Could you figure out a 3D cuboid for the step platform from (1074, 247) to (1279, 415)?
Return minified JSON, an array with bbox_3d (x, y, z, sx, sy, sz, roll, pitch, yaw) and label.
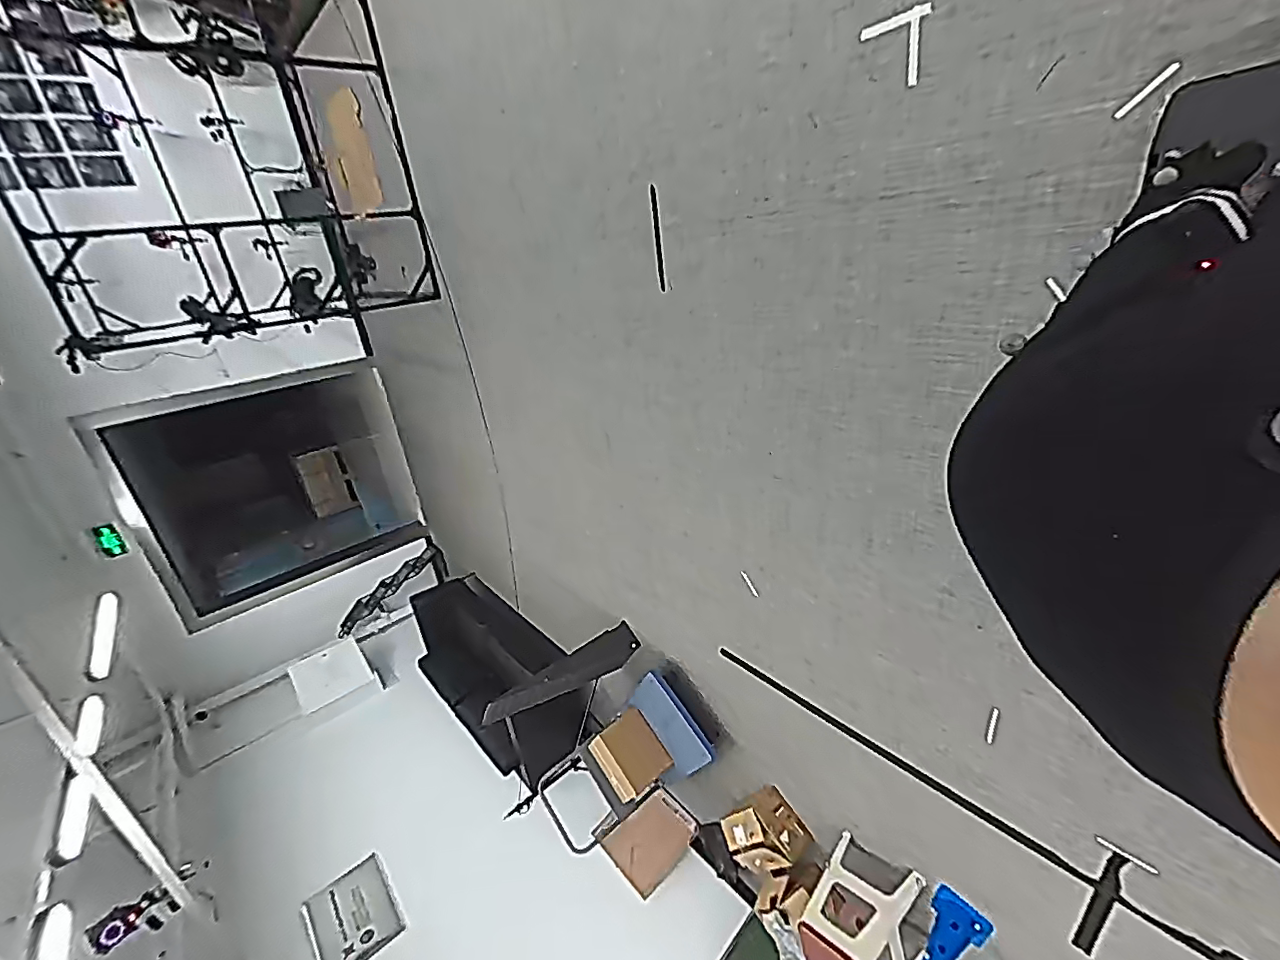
[{"bbox_3d":[1.188,-0.262,0.931,0.684,0.204,0.286,20,125,48],"label":"step platform"}]
